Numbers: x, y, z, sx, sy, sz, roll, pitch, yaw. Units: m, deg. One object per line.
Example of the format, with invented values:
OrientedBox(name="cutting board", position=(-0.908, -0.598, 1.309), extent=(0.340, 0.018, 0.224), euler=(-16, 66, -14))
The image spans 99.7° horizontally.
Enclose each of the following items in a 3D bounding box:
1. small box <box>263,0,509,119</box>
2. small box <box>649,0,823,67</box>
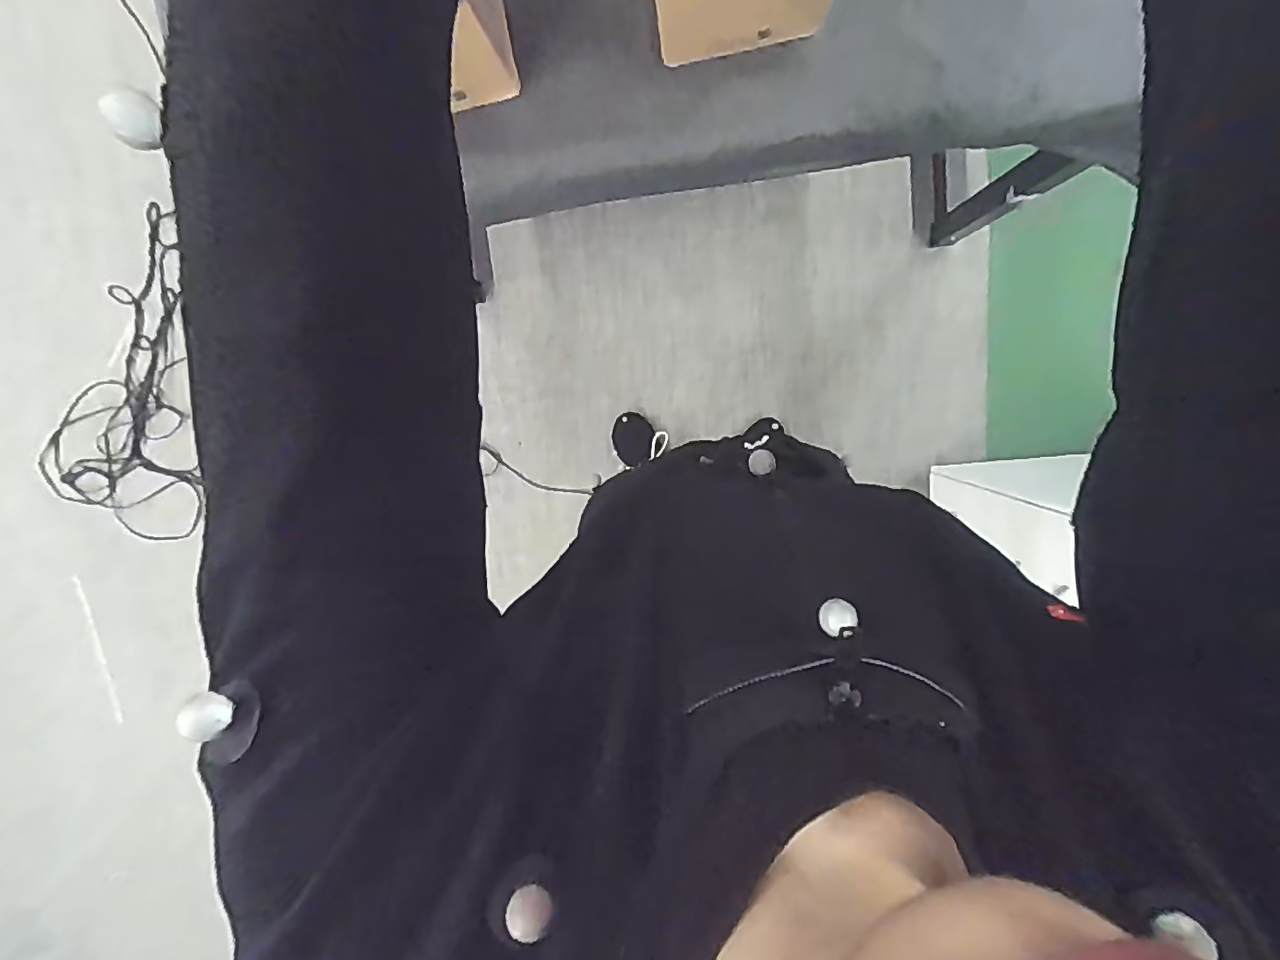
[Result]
OrientedBox(name="small box", position=(-0.238, -0.476, 0.508), extent=(0.168, 0.176, 0.179), euler=(-11, 97, 5))
OrientedBox(name="small box", position=(0.081, -0.524, 0.480), extent=(0.168, 0.176, 0.179), euler=(-9, 97, 6))
